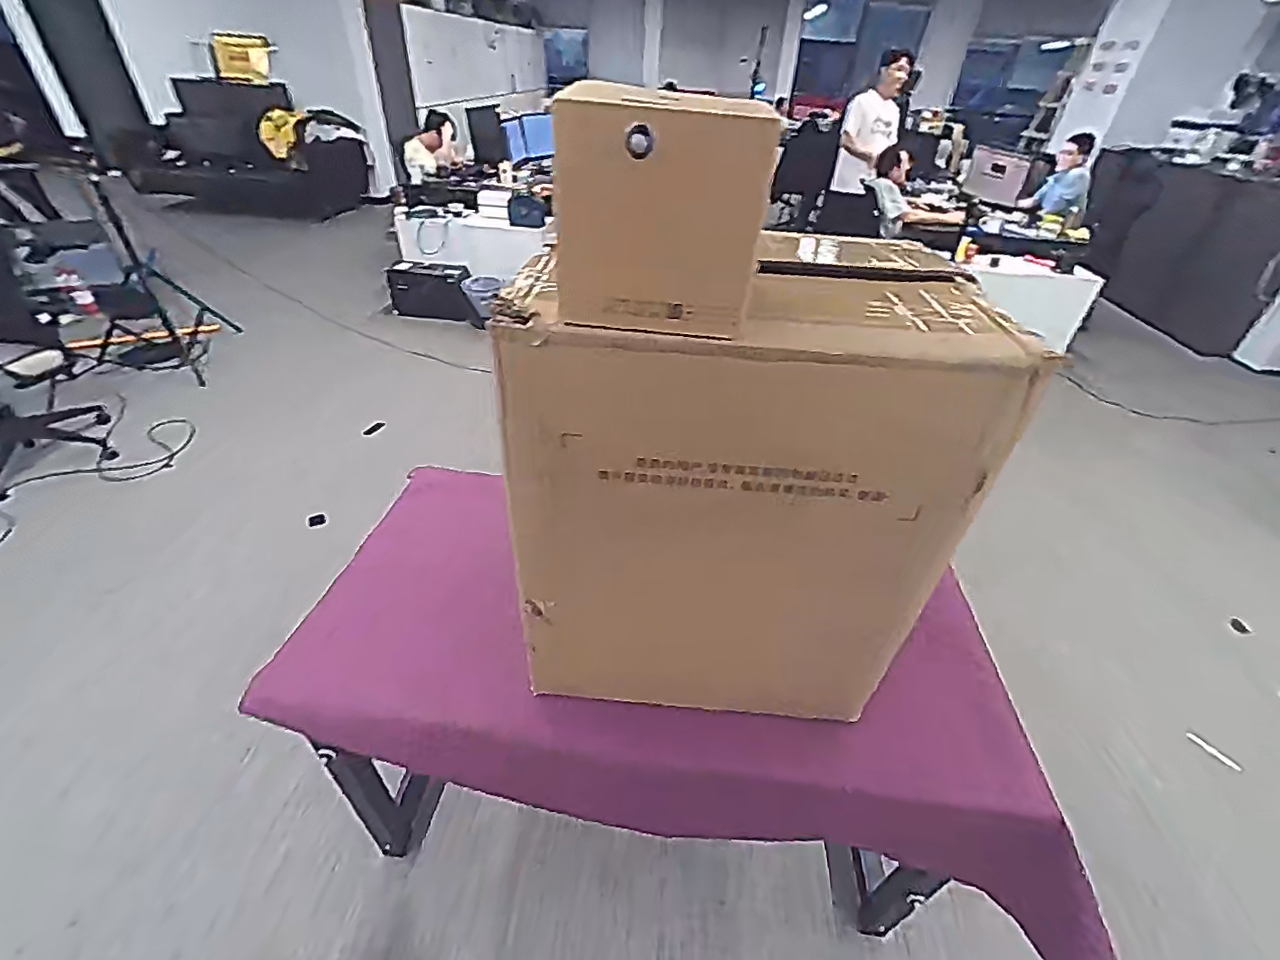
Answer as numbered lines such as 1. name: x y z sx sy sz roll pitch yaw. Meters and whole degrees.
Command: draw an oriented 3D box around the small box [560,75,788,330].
1. small box: 0.023 -0.255 0.493 0.168 0.176 0.179 6 38 1
